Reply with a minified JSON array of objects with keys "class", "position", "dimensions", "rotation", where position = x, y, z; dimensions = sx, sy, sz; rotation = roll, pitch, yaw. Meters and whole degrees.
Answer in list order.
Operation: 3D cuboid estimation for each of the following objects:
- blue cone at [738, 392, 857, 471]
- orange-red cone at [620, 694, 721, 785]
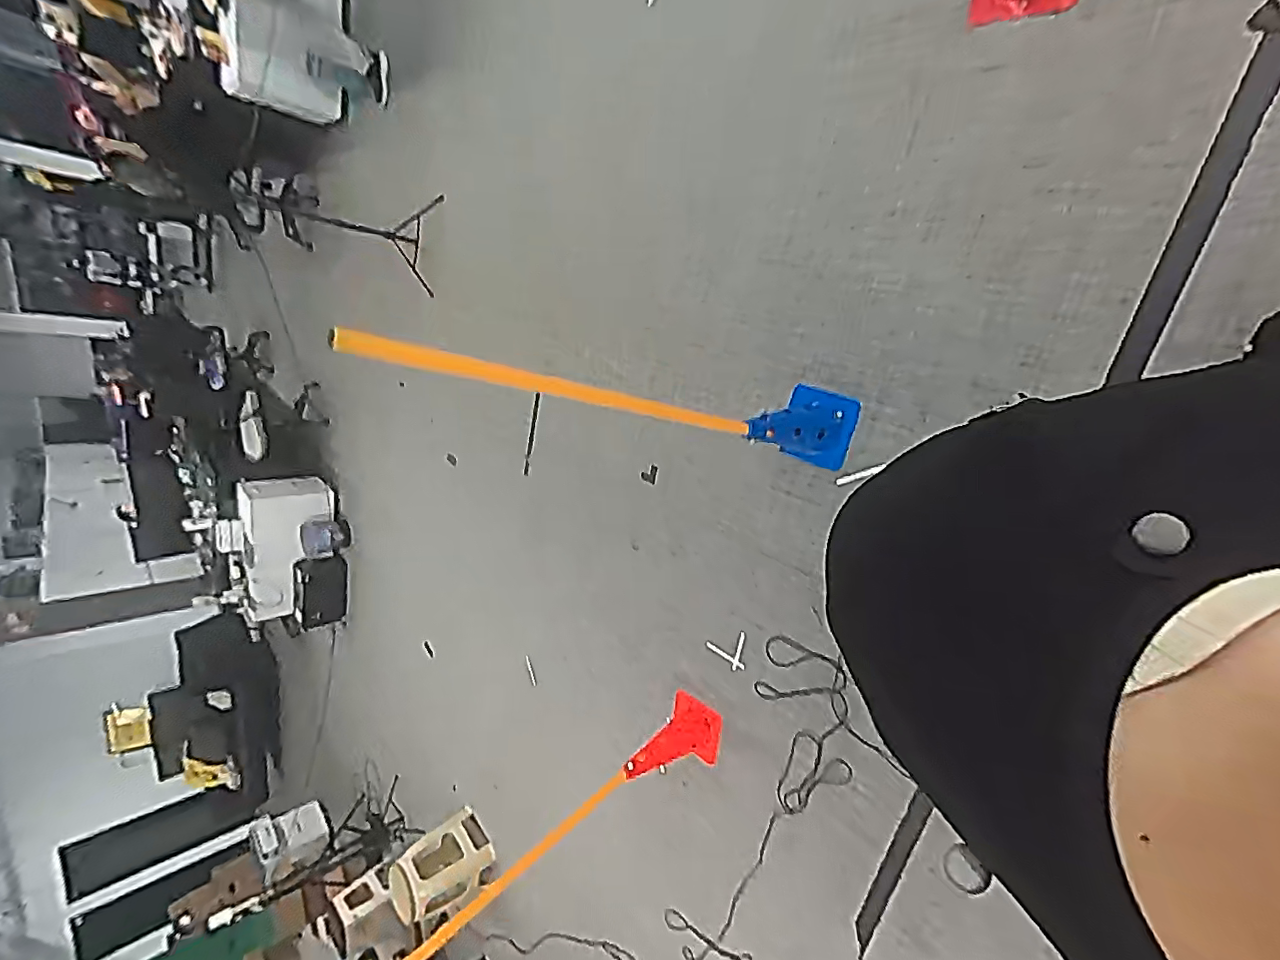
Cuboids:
[{"class":"blue cone","position":[0.368,-0.118,1.355],"dimensions":[0.193,0.380,0.192],"rotation":[29,115,39]},{"class":"orange-red cone","position":[0.074,0.879,1.747],"dimensions":[0.199,0.360,0.198],"rotation":[19,109,40]}]
